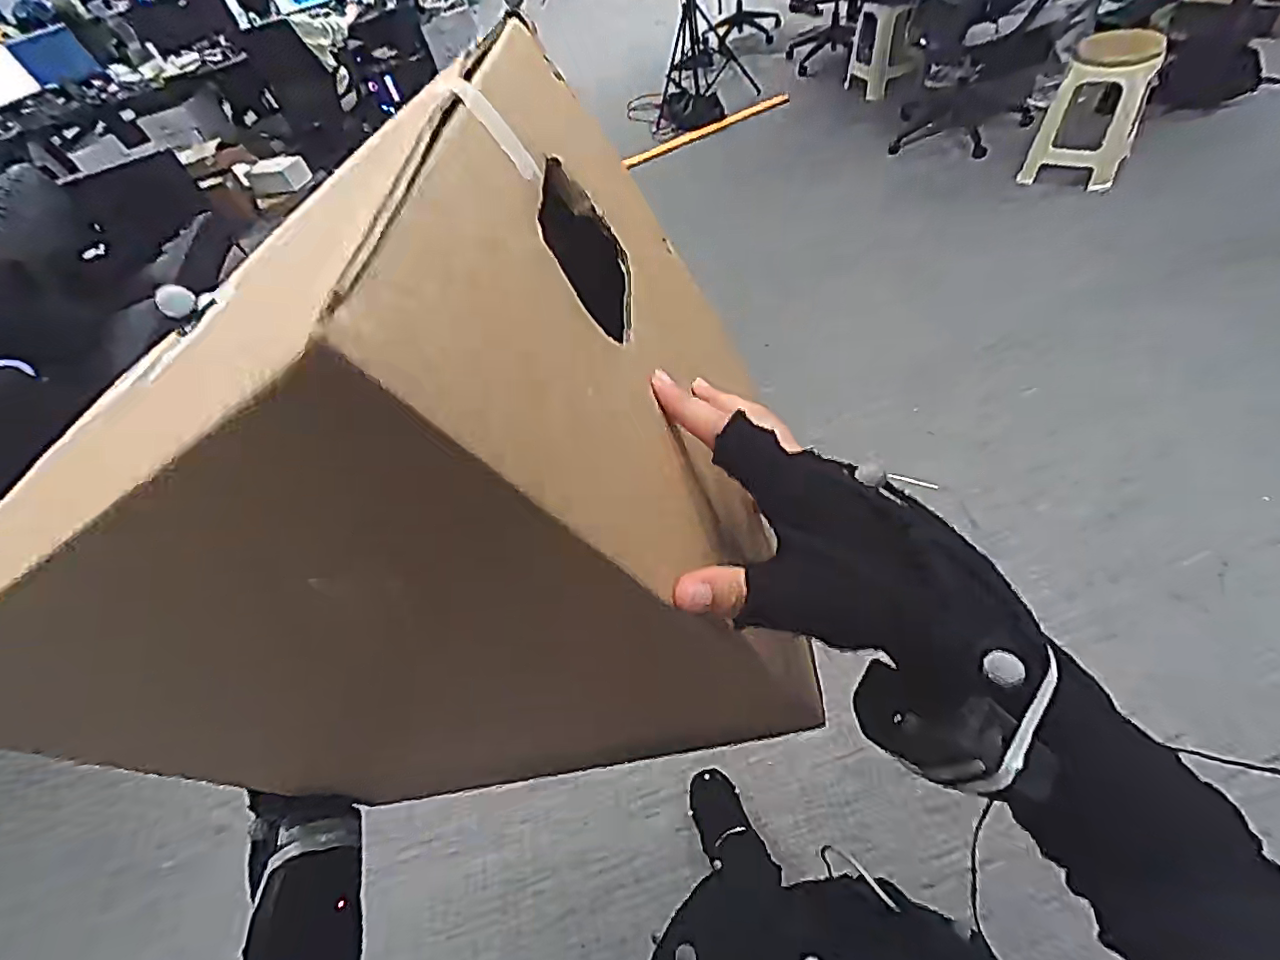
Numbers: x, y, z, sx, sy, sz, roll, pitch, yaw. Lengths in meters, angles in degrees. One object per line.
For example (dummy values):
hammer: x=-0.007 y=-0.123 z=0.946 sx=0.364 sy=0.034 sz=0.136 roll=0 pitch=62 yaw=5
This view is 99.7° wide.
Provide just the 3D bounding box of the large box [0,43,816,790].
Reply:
large box: x=-0.141 y=0.004 z=0.398 sx=0.408 sy=0.320 sz=0.320 roll=-23 pitch=45 yaw=23
